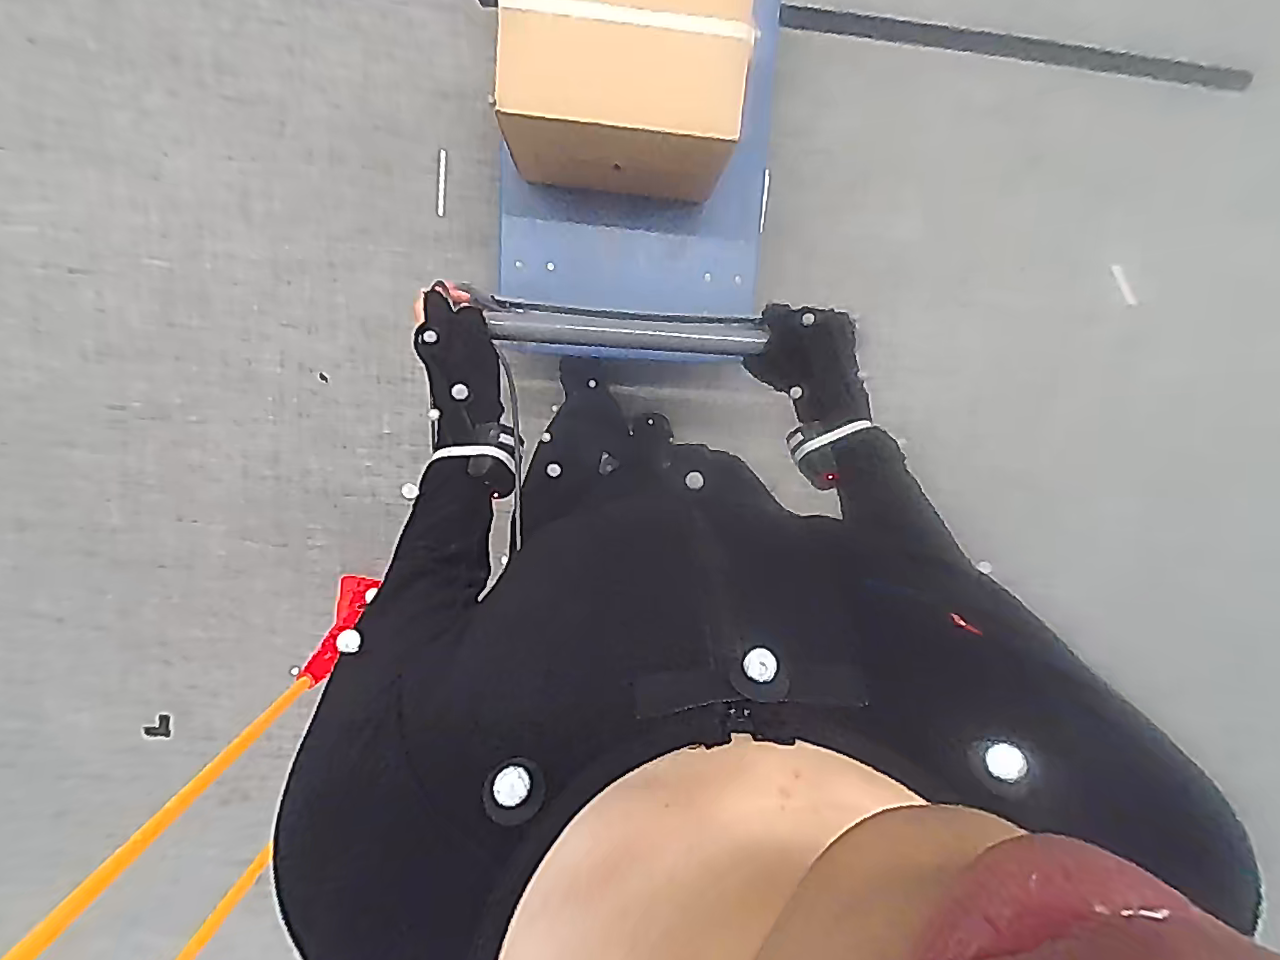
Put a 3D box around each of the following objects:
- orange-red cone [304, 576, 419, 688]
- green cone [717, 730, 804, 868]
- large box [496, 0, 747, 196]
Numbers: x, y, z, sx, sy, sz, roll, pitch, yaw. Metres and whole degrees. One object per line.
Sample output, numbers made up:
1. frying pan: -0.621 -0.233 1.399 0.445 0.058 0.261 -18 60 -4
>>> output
1. orange-red cone: -0.713 0.399 1.327 0.198 0.360 0.199 12 98 -6
2. green cone: 0.354 0.881 1.463 0.202 0.368 0.200 8 99 -6
3. large box: -0.033 -0.756 1.014 0.408 0.320 0.320 4 99 -3
